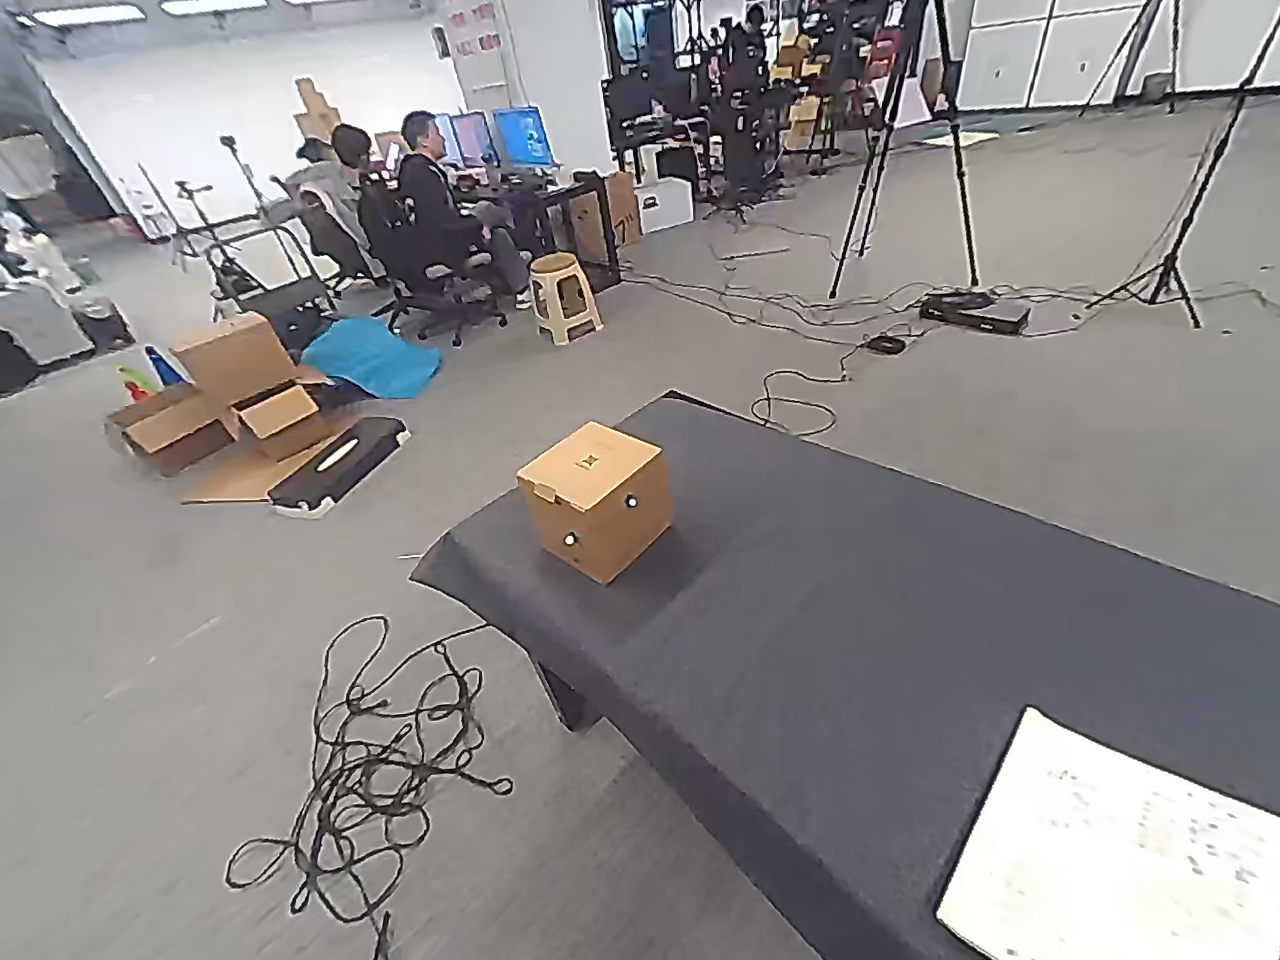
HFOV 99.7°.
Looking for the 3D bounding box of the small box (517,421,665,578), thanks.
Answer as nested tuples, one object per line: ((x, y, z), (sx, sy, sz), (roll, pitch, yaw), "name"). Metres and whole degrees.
((-0.071, 0.031, 0.903), (0.168, 0.176, 0.179), (25, 49, 35), "small box")
